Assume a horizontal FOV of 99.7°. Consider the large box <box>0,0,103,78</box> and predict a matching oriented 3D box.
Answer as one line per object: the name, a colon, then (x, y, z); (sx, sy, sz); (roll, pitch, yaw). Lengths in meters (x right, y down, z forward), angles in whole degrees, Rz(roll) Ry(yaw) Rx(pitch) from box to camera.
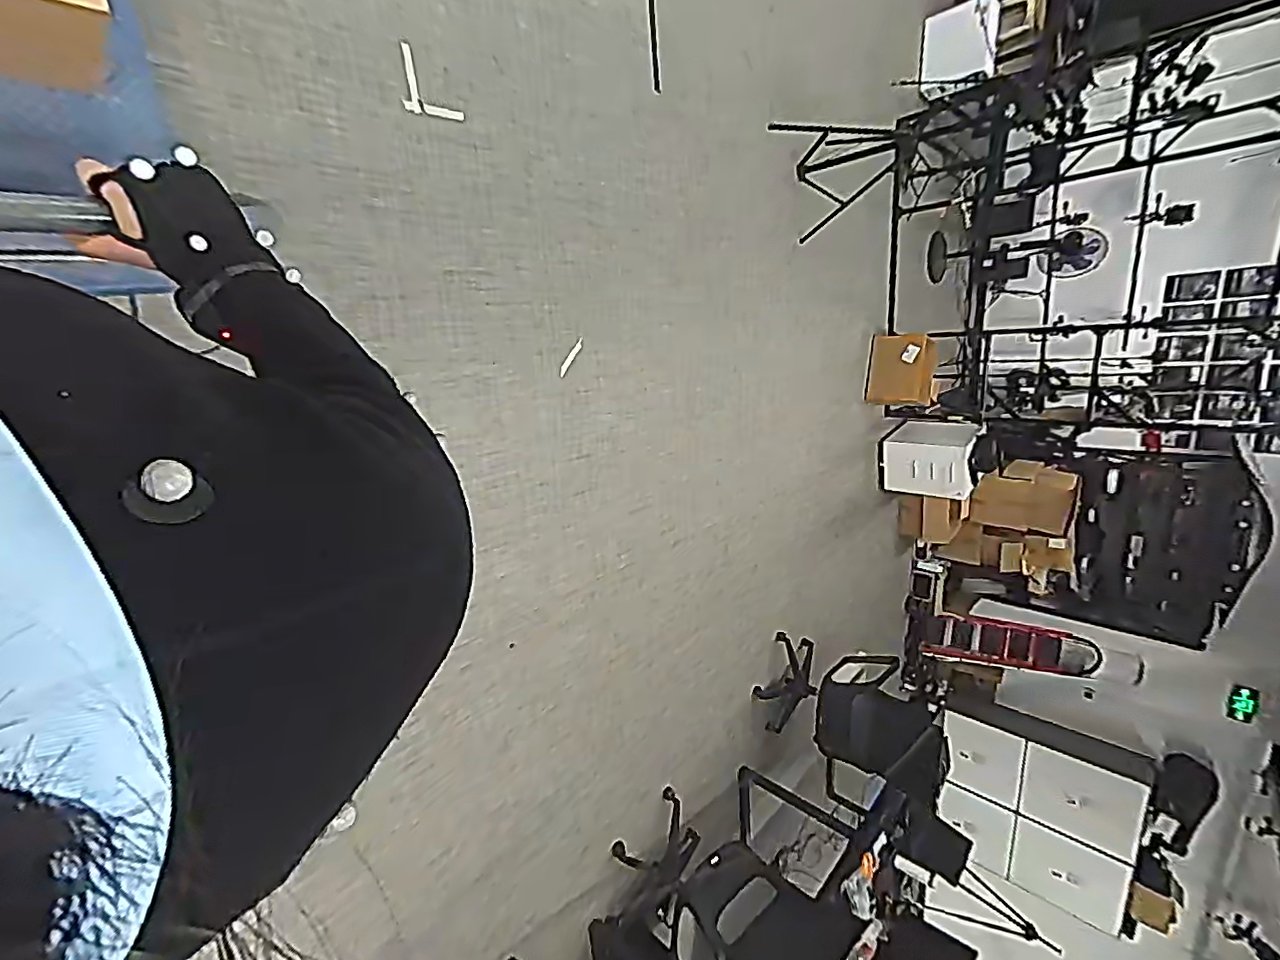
large box: (-0.964, -0.745, 0.640); (0.408, 0.320, 0.320); (-20, 111, -42)
